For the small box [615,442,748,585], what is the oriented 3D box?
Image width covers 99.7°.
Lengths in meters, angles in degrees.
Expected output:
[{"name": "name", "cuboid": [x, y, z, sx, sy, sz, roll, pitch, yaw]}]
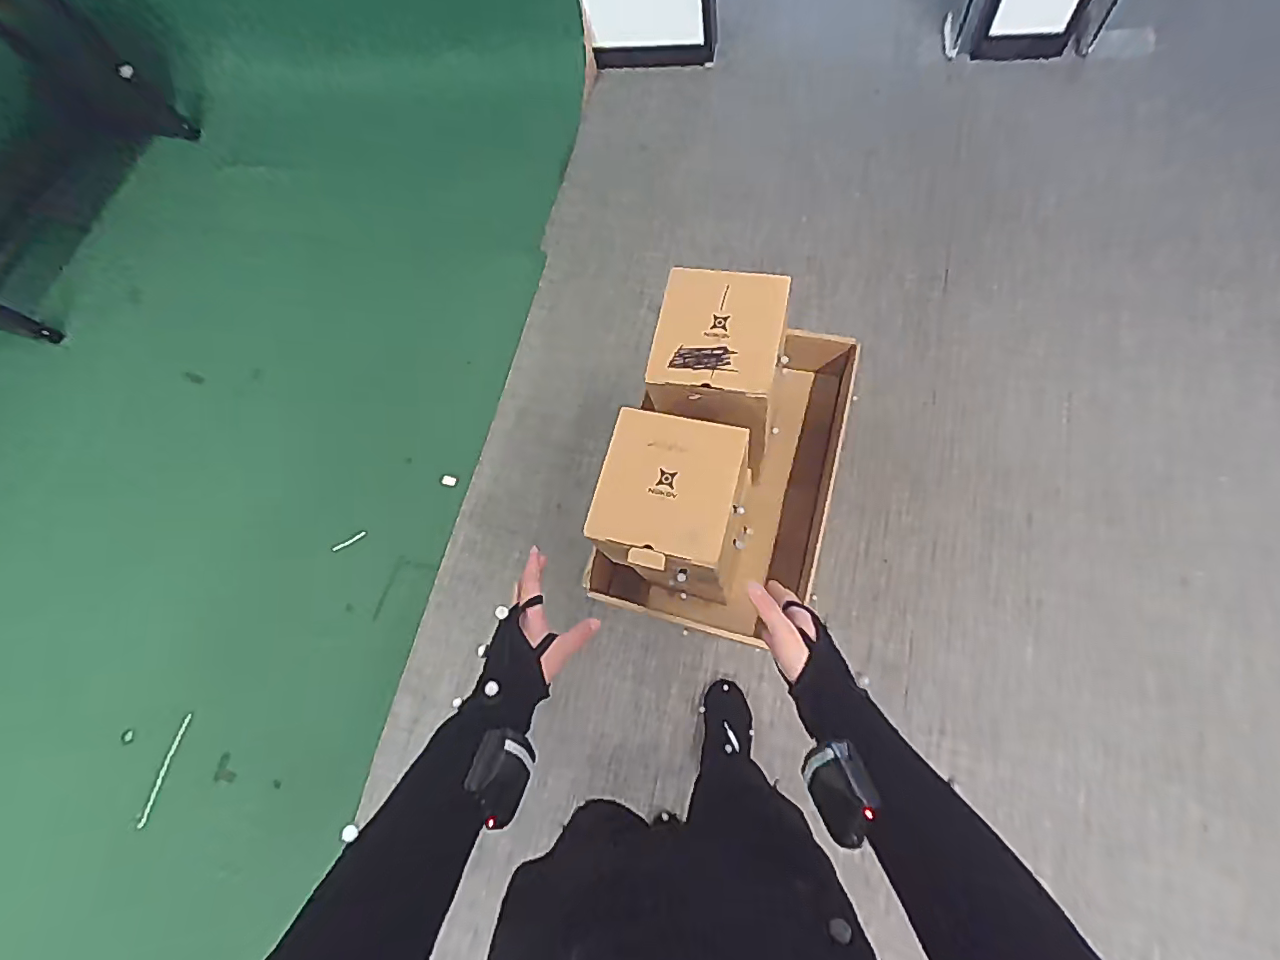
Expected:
[{"name": "small box", "cuboid": [0.077, 0.062, 0.877, 0.168, 0.176, 0.179, 13, 75, 15]}]

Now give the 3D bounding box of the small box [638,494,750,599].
[{"name": "small box", "cuboid": [0.108, 0.113, 1.029, 0.168, 0.176, 0.179, 13, 74, 16]}]

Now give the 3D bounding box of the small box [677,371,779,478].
[{"name": "small box", "cuboid": [0.180, -0.120, 1.098, 0.168, 0.176, 0.179, 11, 78, 14]}]

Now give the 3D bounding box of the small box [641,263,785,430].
[{"name": "small box", "cuboid": [0.112, -0.184, 0.782, 0.168, 0.176, 0.179, 9, 77, 14]}]
